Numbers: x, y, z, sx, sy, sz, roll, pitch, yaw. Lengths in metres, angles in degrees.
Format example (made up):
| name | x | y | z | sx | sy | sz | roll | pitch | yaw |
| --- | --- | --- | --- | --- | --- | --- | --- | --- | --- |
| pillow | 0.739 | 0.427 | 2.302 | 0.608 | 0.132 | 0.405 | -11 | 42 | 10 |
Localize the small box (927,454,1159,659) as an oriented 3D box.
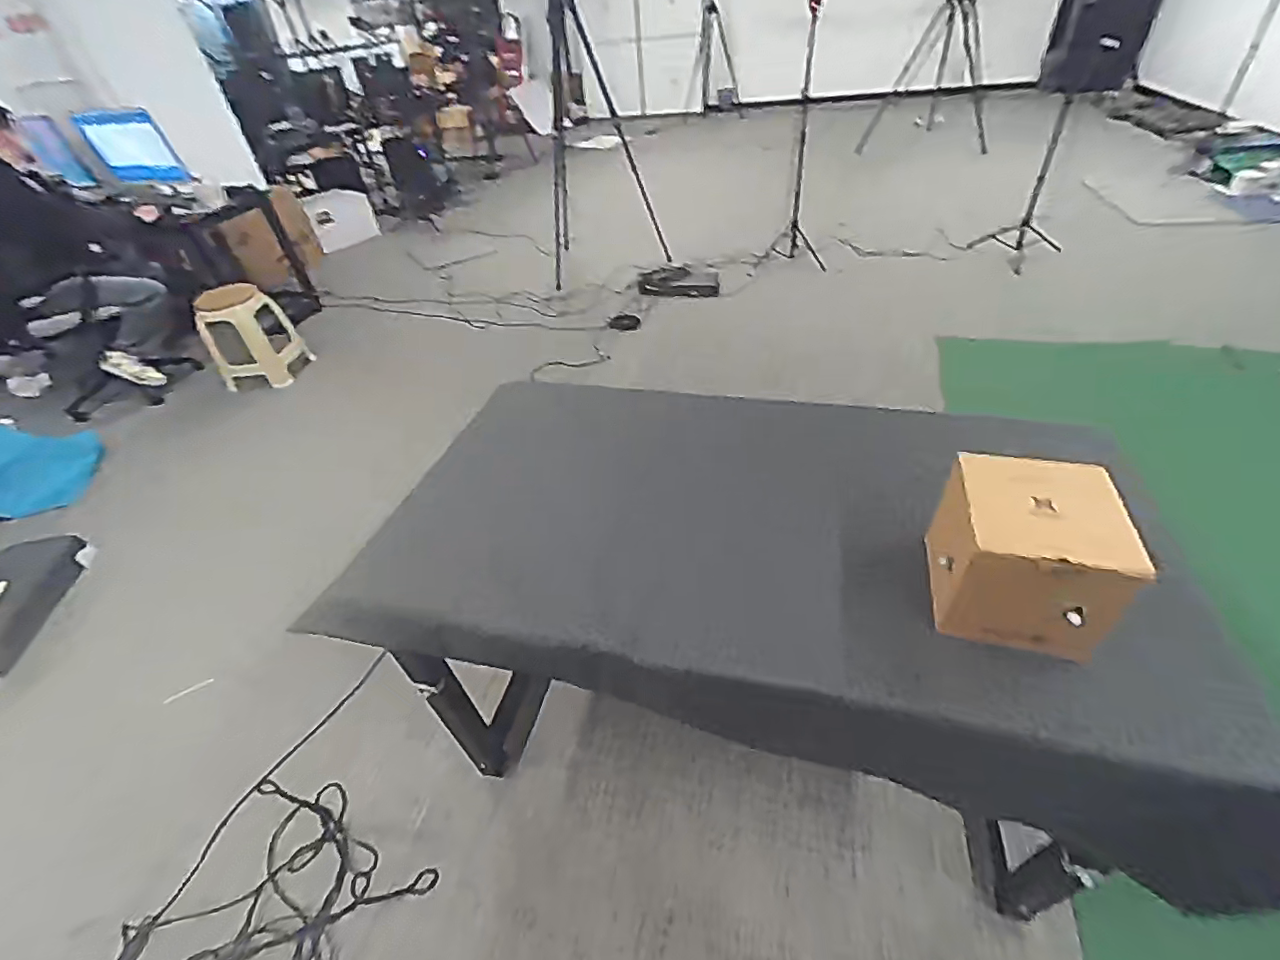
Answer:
| name | x | y | z | sx | sy | sz | roll | pitch | yaw |
| --- | --- | --- | --- | --- | --- | --- | --- | --- | --- |
| small box | 0.472 | 0.093 | 0.670 | 0.168 | 0.176 | 0.179 | 8 | 42 | 15 |
